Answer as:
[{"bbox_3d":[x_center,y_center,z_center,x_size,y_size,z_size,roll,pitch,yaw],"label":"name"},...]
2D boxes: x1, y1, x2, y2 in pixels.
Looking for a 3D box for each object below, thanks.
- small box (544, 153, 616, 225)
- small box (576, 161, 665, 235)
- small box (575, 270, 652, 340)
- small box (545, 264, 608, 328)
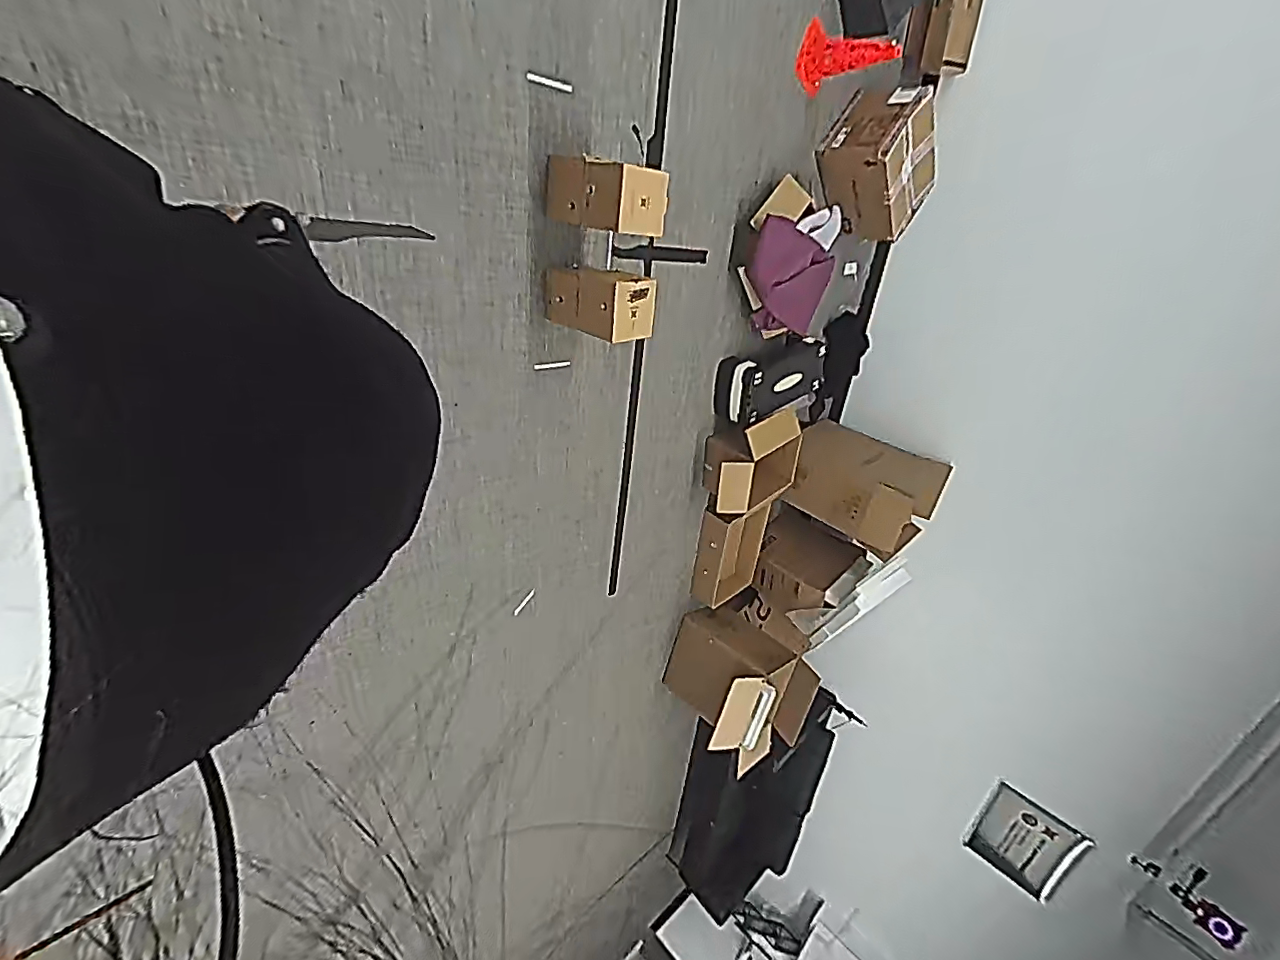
[{"bbox_3d":[-0.172,-0.861,1.611,0.168,0.176,0.179,-18,126,-42],"label":"small box"},{"bbox_3d":[-0.057,-0.791,1.519,0.179,0.176,0.168,-18,125,-40],"label":"small box"},{"bbox_3d":[-0.084,-0.541,1.651,0.168,0.176,0.179,-22,129,-39],"label":"small box"},{"bbox_3d":[-0.197,-0.601,1.756,0.179,0.176,0.168,-21,129,-39],"label":"small box"}]
